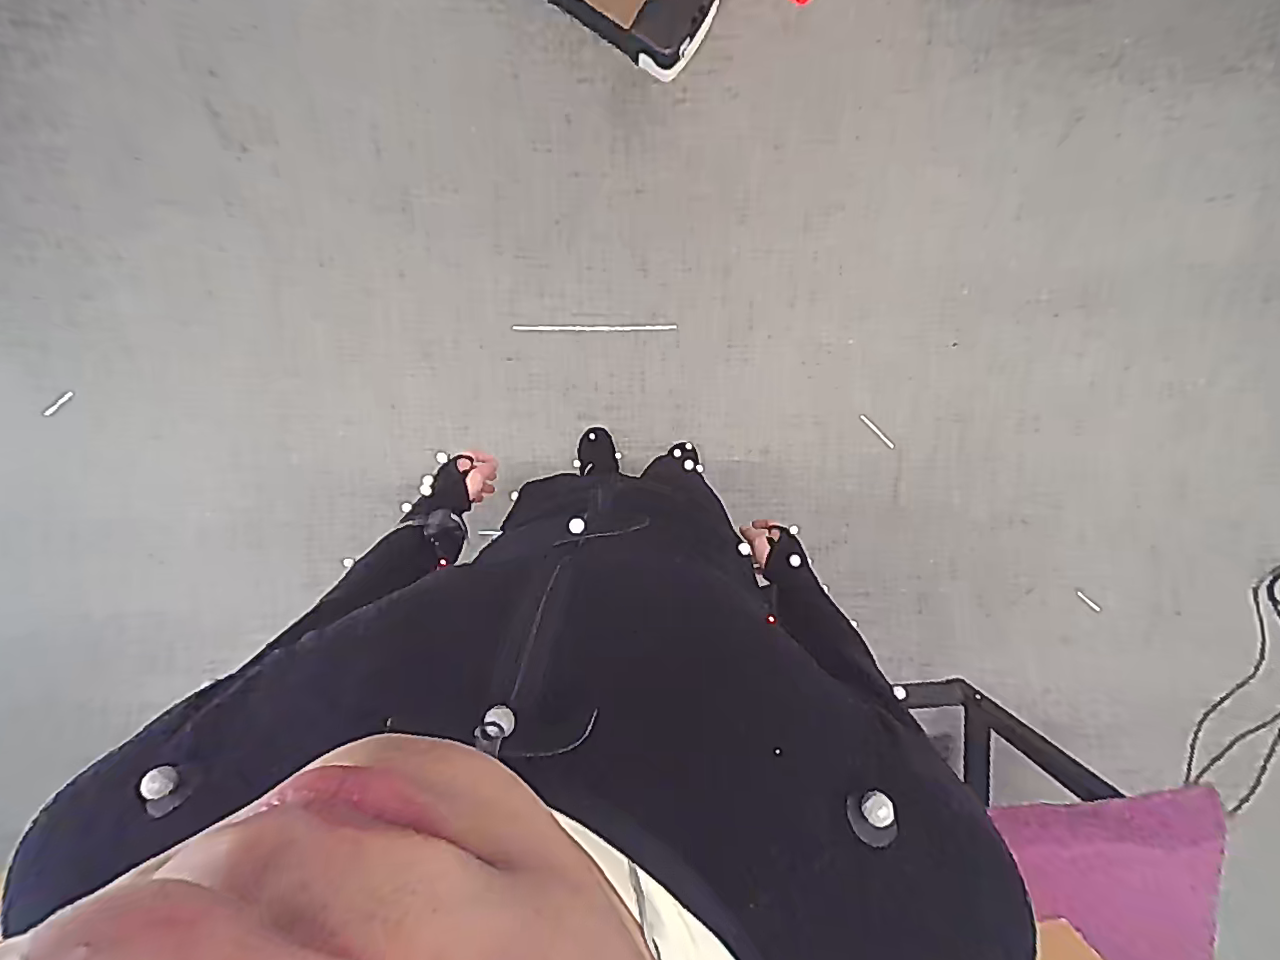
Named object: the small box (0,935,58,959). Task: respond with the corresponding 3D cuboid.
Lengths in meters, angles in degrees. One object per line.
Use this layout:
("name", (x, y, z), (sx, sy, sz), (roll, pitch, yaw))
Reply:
("small box", (-1.435, 1.132, 1.168), (0.179, 0.176, 0.168), (1, 93, -3))

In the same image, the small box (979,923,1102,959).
("small box", (0.713, 0.898, 0.916), (0.179, 0.176, 0.168), (-4, 94, -2))
